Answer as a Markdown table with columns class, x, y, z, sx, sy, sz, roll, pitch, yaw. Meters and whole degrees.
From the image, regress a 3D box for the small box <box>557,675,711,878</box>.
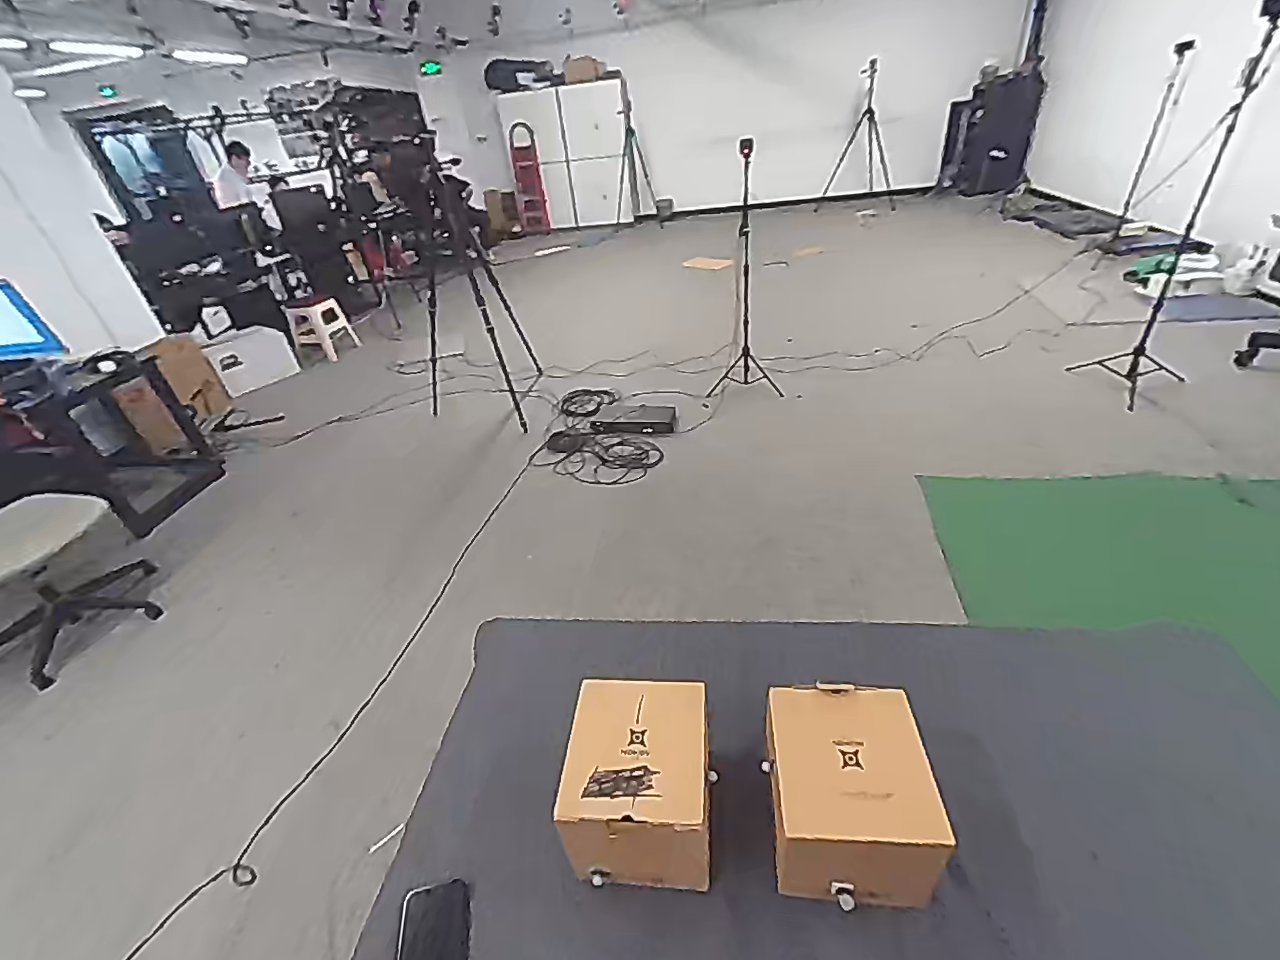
| class | x | y | z | sx | sy | sz | roll | pitch | yaw |
| --- | --- | --- | --- | --- | --- | --- | --- | --- | --- |
| small box | 0.005 | 0.378 | 0.696 | 0.168 | 0.176 | 0.179 | -1 | 34 | 8 |

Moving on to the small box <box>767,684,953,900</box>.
| class | x | y | z | sx | sy | sz | roll | pitch | yaw |
| --- | --- | --- | --- | --- | --- | --- | --- | --- | --- |
| small box | 0.249 | 0.376 | 0.663 | 0.168 | 0.176 | 0.179 | -3 | 36 | 8 |
